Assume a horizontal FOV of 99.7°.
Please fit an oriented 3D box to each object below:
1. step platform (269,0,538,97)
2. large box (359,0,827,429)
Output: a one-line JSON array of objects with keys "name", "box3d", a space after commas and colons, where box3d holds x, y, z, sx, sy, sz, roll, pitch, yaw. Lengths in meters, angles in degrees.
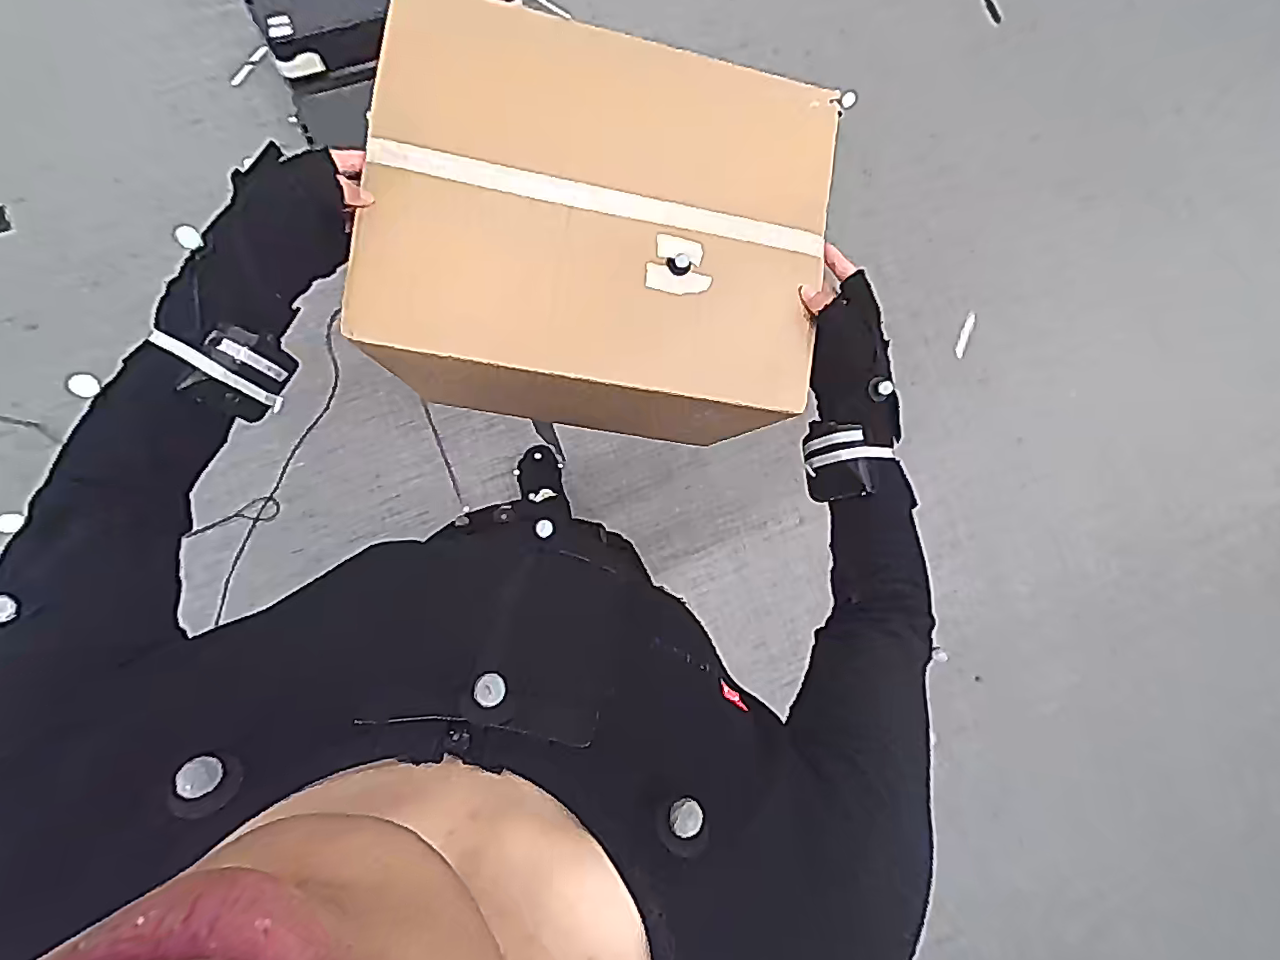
[{"name": "step platform", "box3d": [-0.627, -1.315, 1.456, 0.684, 0.204, 0.286, -23, 89, -9]}, {"name": "large box", "box3d": [-0.053, -0.251, 0.632, 0.408, 0.320, 0.320, 7, 88, -10]}]
